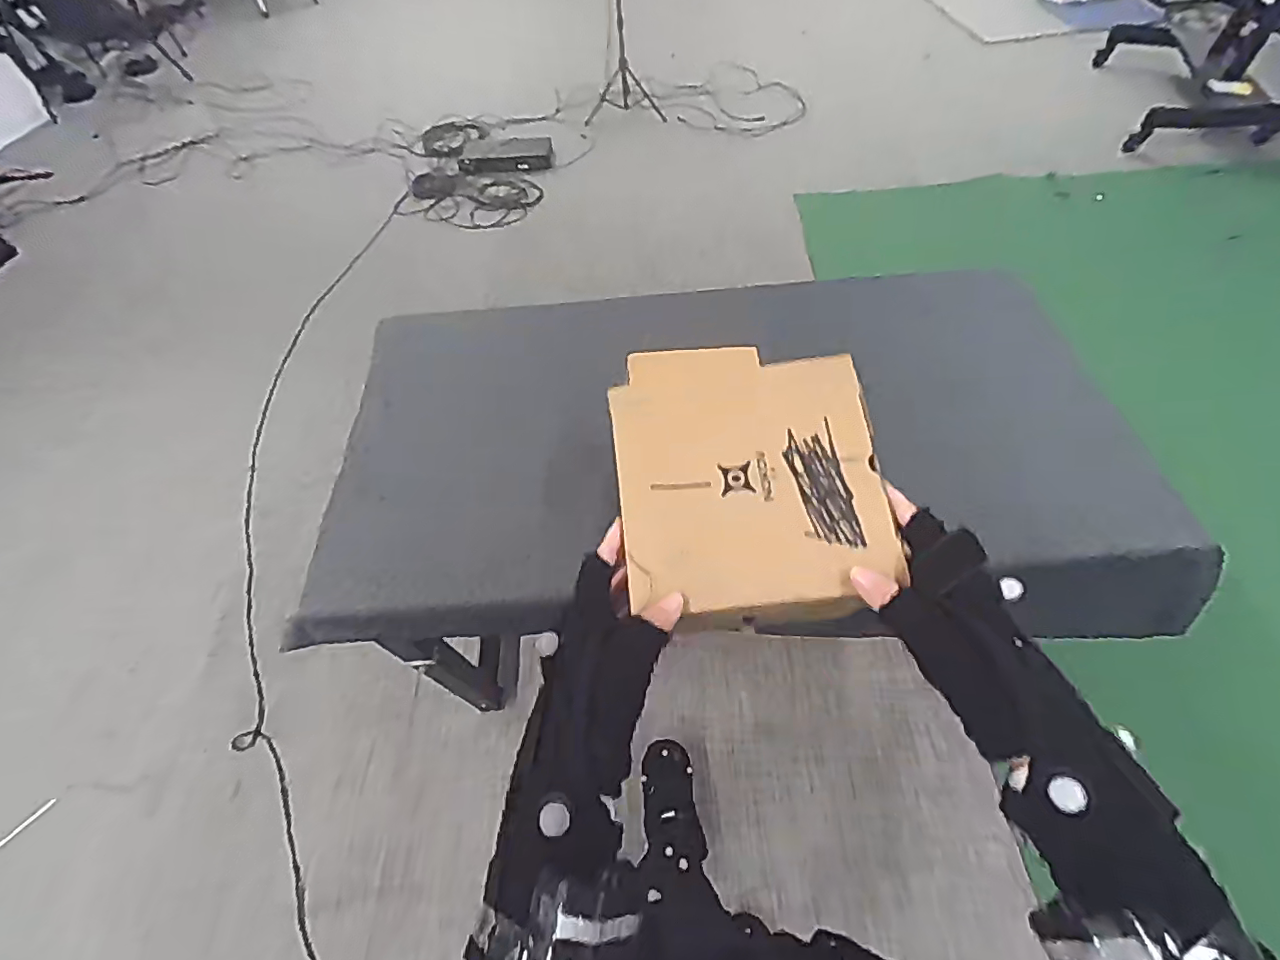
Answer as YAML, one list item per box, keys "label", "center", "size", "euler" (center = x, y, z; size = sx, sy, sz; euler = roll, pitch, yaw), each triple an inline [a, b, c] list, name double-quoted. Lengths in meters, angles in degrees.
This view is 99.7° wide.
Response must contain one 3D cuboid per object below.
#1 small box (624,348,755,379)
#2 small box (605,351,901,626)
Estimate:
- label: "small box"
  center: [0.074, -0.060, 0.751]
  size: [0.179, 0.176, 0.168]
  euler: [-4, 57, 2]
- label: "small box"
  center: [0.074, 0.021, 0.437]
  size: [0.179, 0.176, 0.168]
  euler: [-8, 70, 3]
